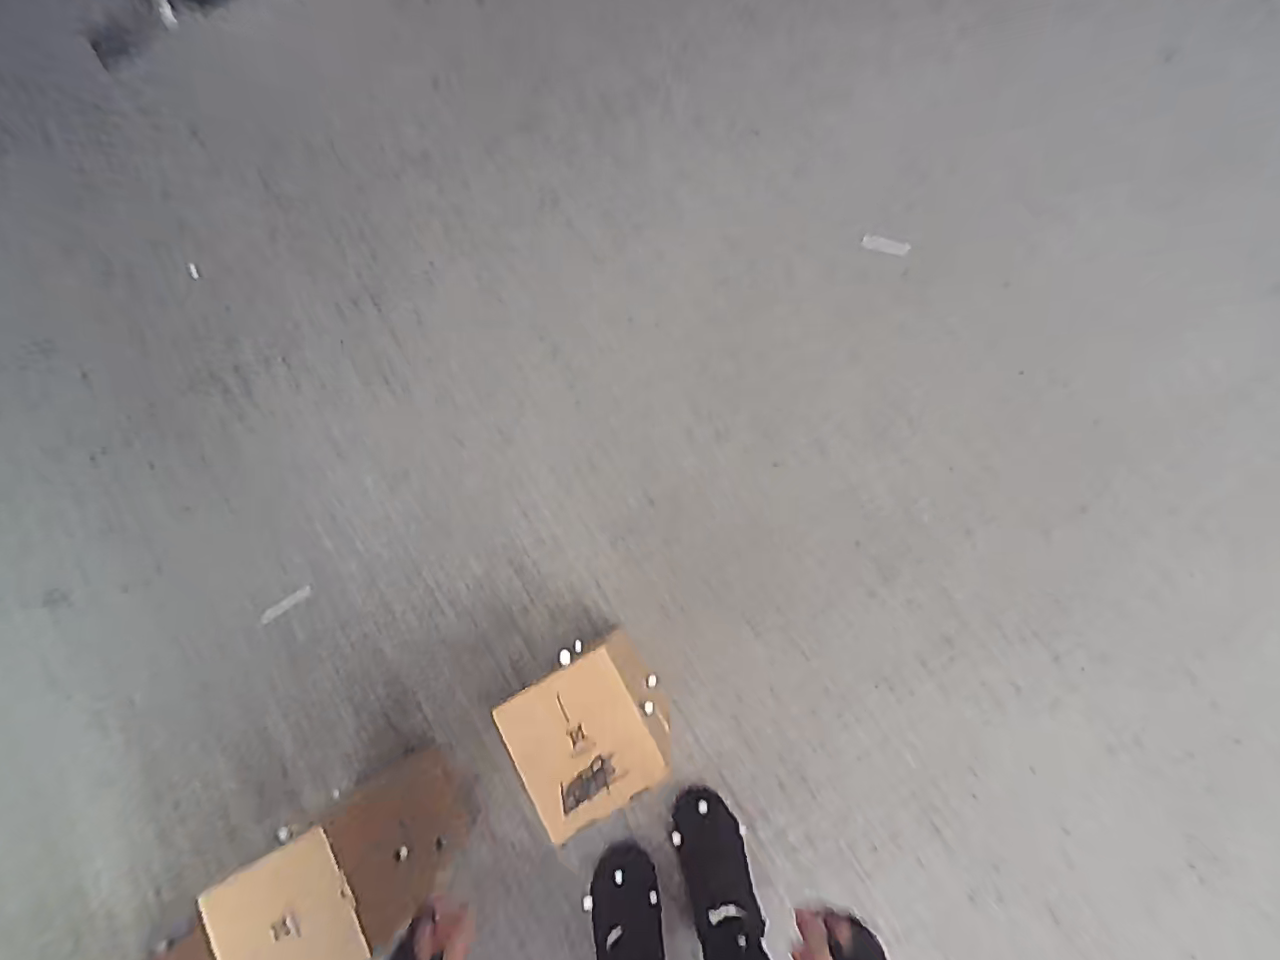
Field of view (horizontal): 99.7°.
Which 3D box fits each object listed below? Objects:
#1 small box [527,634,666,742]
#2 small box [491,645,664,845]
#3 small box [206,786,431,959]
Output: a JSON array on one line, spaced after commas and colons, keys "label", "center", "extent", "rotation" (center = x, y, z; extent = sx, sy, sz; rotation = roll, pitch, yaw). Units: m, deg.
[{"label": "small box", "center": [-0.065, 0.381, 0.918], "extent": [0.168, 0.176, 0.179], "rotation": [-31, 79, -3]}, {"label": "small box", "center": [-0.075, 0.351, 0.756], "extent": [0.168, 0.176, 0.179], "rotation": [-29, 77, -3]}, {"label": "small box", "center": [-0.423, 0.559, 0.736], "extent": [0.179, 0.176, 0.168], "rotation": [-29, 77, -3]}]
